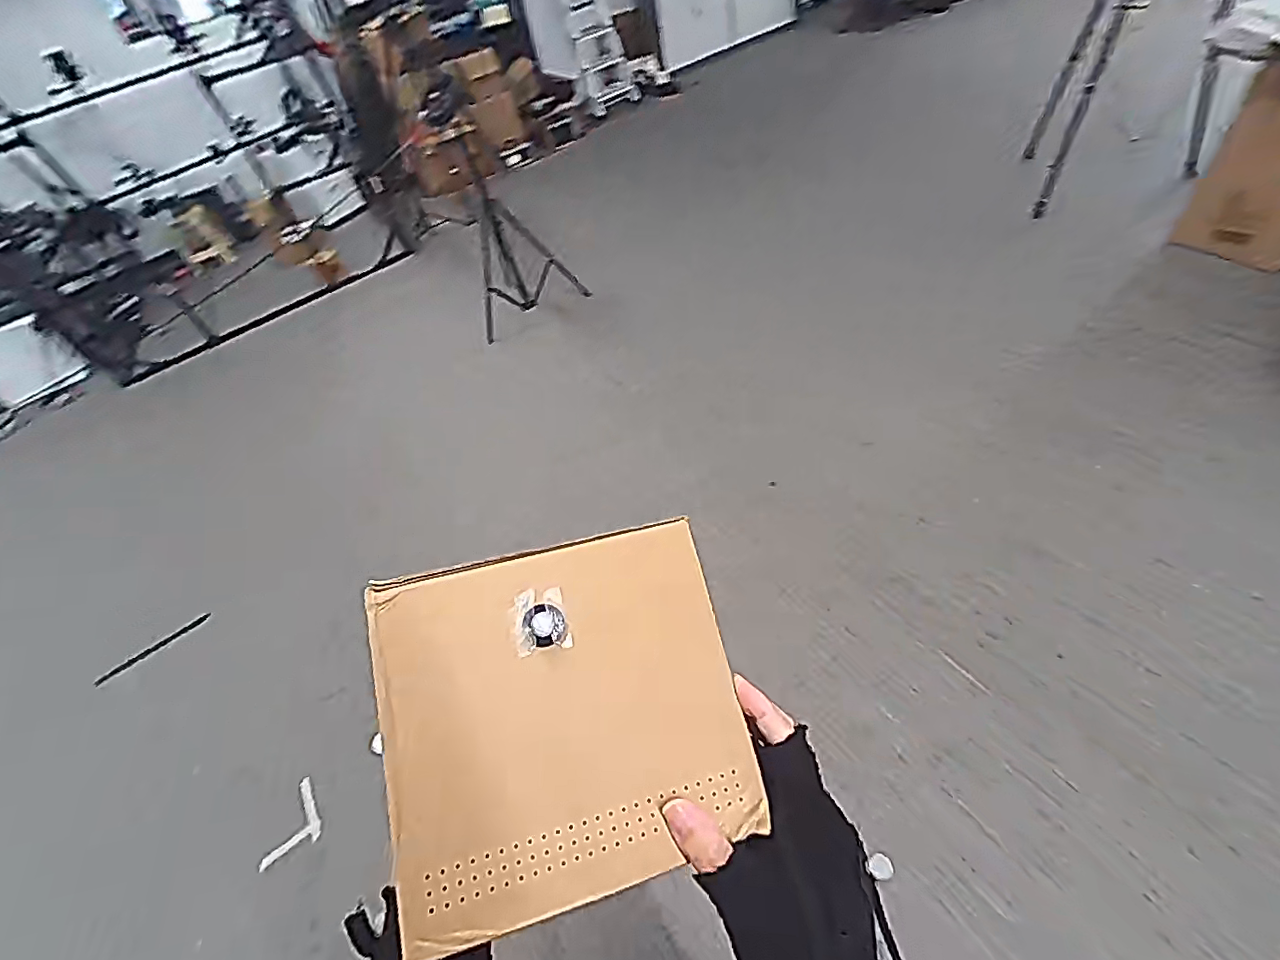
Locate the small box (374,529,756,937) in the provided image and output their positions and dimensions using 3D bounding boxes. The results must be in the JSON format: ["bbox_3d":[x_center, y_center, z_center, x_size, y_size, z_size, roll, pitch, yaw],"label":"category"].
[{"bbox_3d":[-0.050,0.149,0.357,0.179,0.168,0.176,-12,73,-13],"label":"small box"}]
